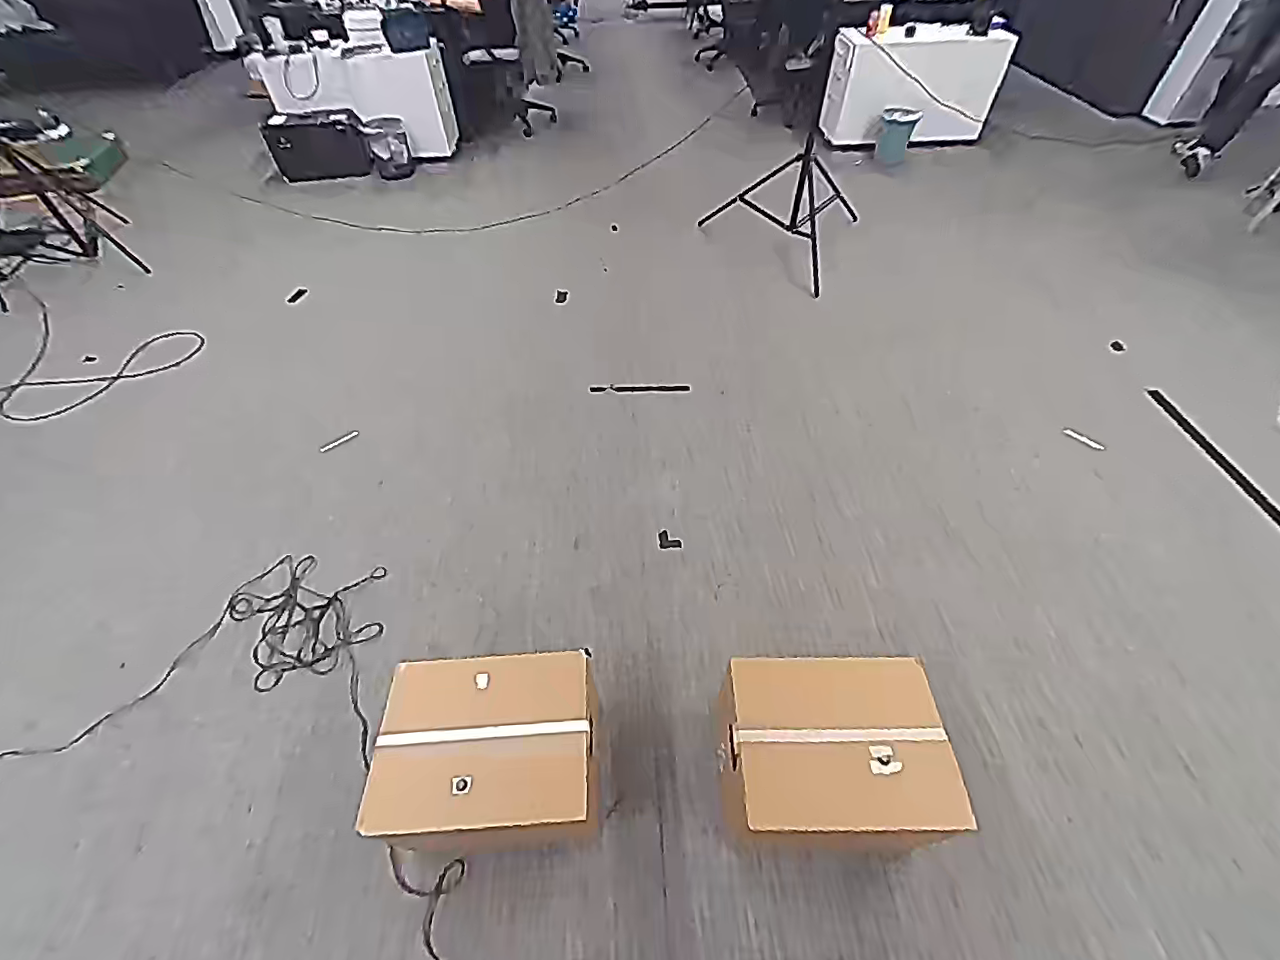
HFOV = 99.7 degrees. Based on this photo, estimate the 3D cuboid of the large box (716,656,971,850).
[{"bbox_3d":[0.392,0.592,1.169,0.408,0.320,0.320,0,50,0],"label":"large box"}]
